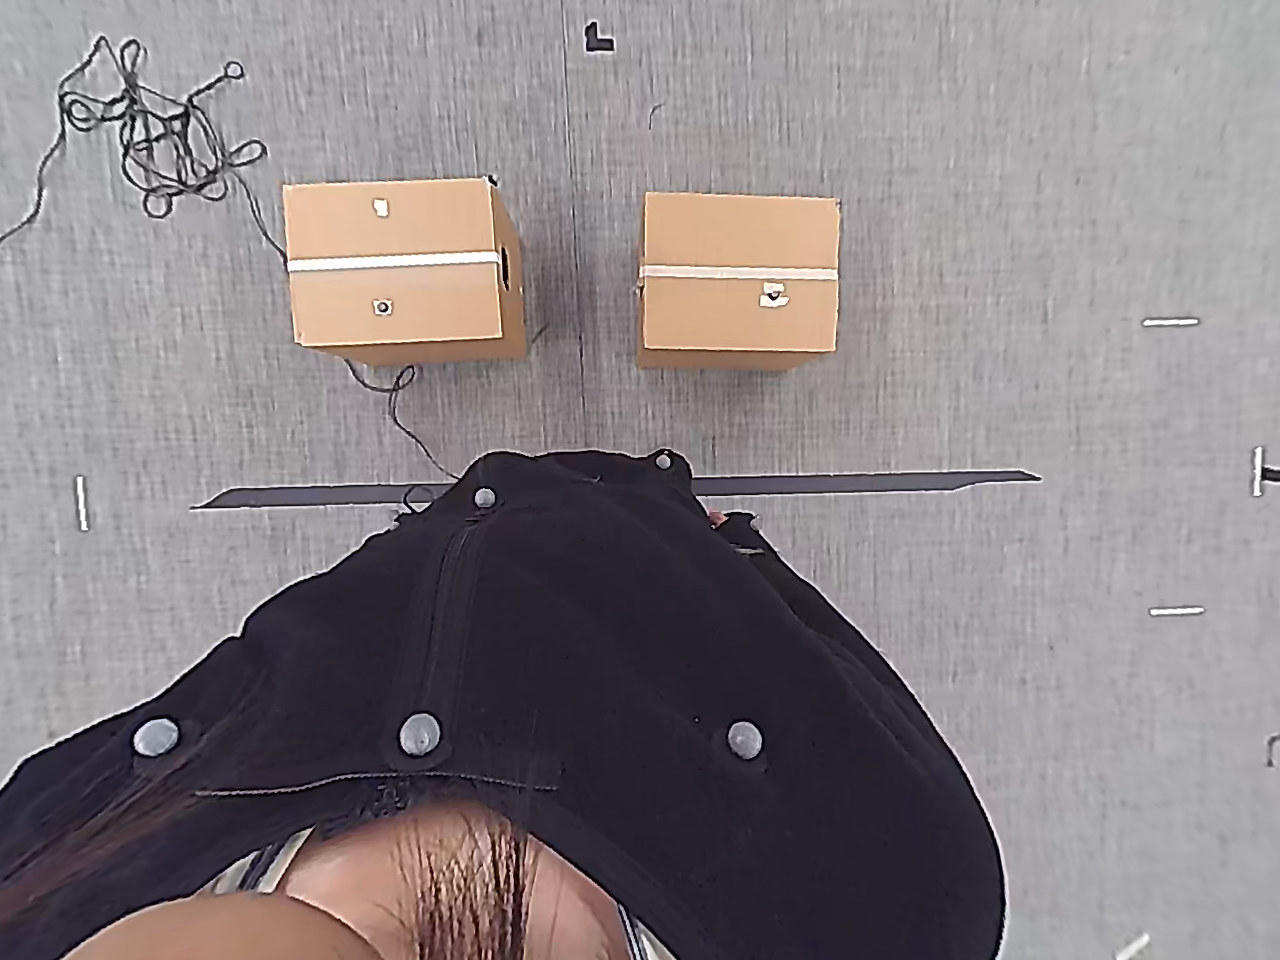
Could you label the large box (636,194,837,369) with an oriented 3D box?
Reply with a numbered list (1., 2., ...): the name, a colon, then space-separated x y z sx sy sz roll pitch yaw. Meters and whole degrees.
1. large box: 0.200 -0.436 1.265 0.408 0.320 0.320 1 94 -4
